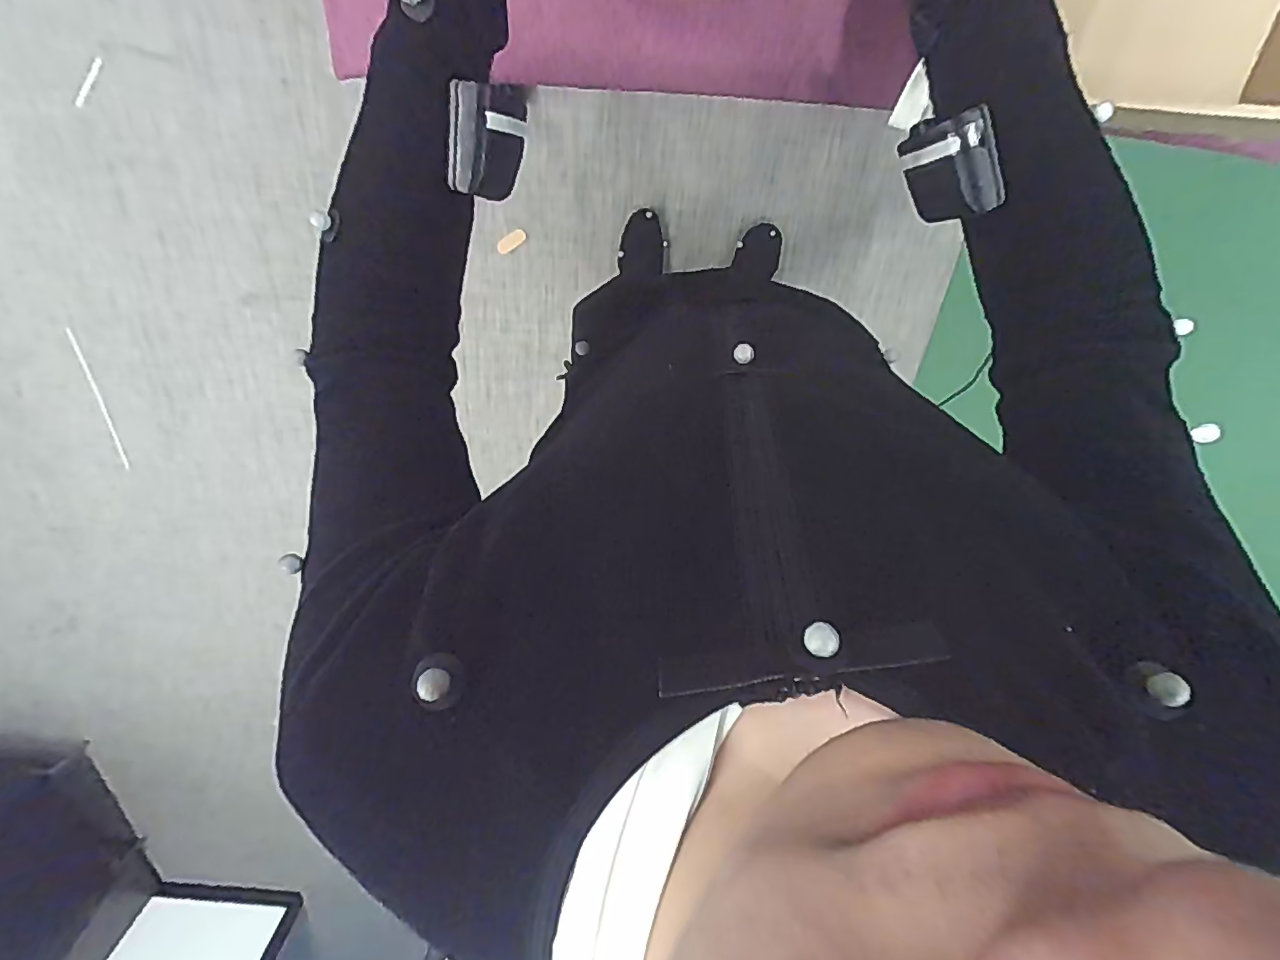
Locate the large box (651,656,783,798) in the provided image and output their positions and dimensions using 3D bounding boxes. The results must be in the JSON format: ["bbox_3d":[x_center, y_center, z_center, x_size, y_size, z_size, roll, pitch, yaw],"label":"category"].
[{"bbox_3d":[0.289,0.956,2.105,0.408,0.320,0.320,-24,115,13],"label":"large box"}]
